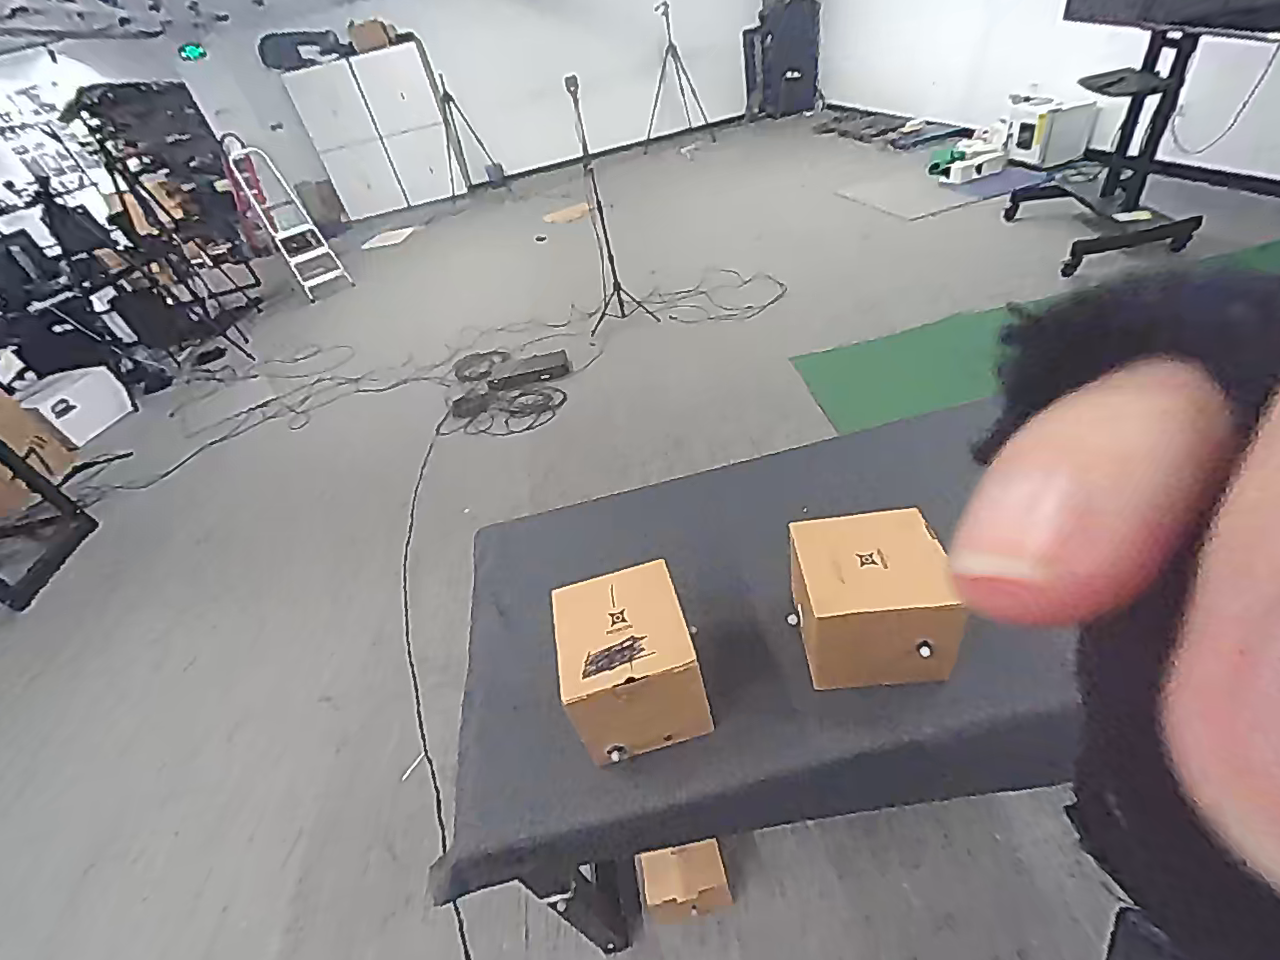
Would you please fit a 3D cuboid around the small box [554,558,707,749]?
[{"bbox_3d":[-0.013,0.243,0.744,0.168,0.176,0.179,-15,38,-2],"label":"small box"}]

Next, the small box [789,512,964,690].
[{"bbox_3d":[0.309,0.169,0.746,0.179,0.176,0.168,-8,38,8],"label":"small box"}]

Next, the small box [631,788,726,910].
[{"bbox_3d":[0.085,0.817,1.190,0.168,0.176,0.179,-14,40,0],"label":"small box"}]
